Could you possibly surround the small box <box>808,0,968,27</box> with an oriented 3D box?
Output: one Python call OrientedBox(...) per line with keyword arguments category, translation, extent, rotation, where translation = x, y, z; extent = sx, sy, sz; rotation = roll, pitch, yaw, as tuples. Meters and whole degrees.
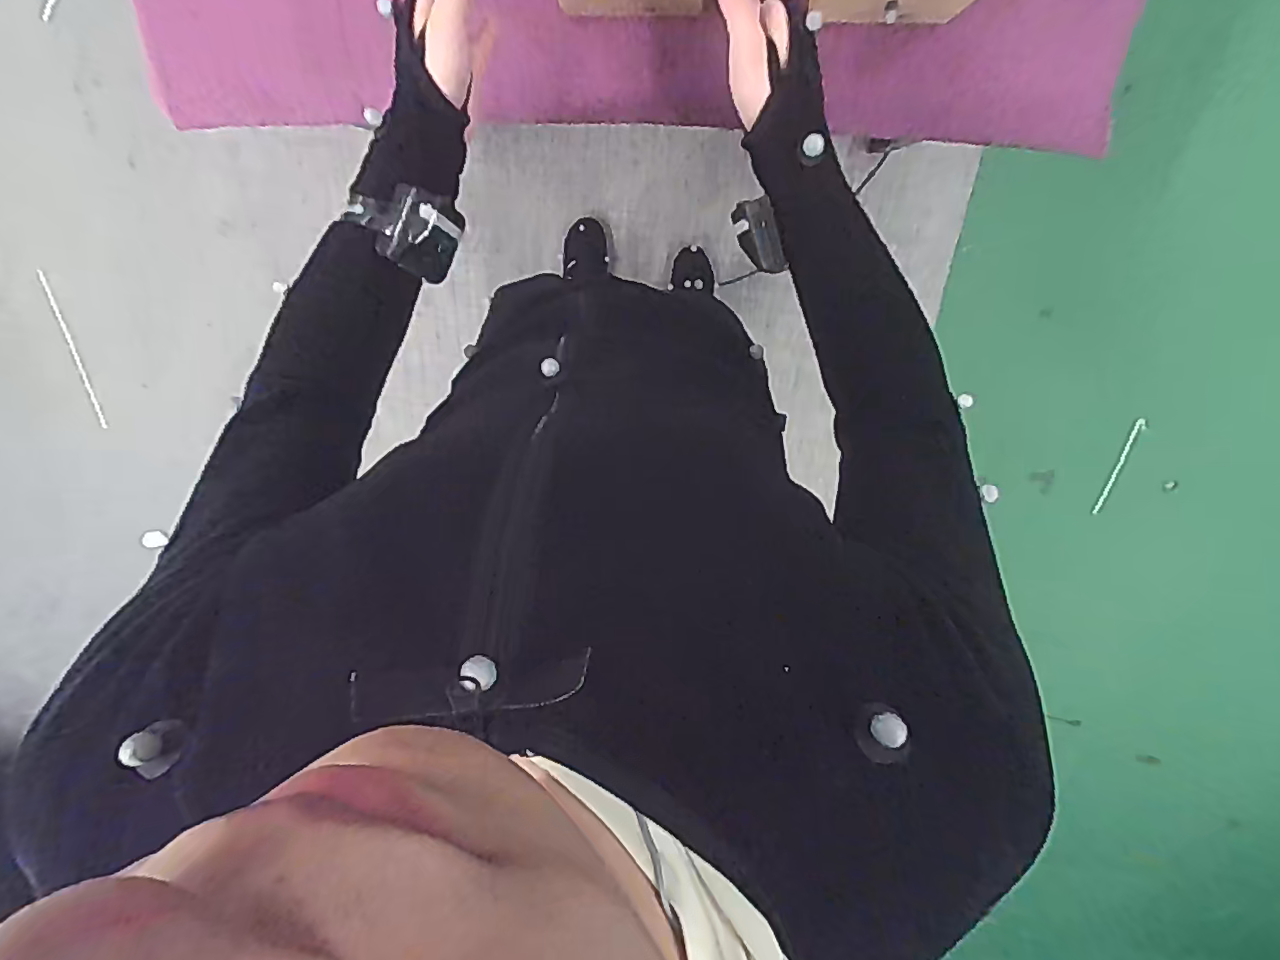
OrientedBox(category="small box", translation=(0.275, -0.591, 0.536), extent=(0.168, 0.176, 0.179), rotation=(3, 115, 2))
